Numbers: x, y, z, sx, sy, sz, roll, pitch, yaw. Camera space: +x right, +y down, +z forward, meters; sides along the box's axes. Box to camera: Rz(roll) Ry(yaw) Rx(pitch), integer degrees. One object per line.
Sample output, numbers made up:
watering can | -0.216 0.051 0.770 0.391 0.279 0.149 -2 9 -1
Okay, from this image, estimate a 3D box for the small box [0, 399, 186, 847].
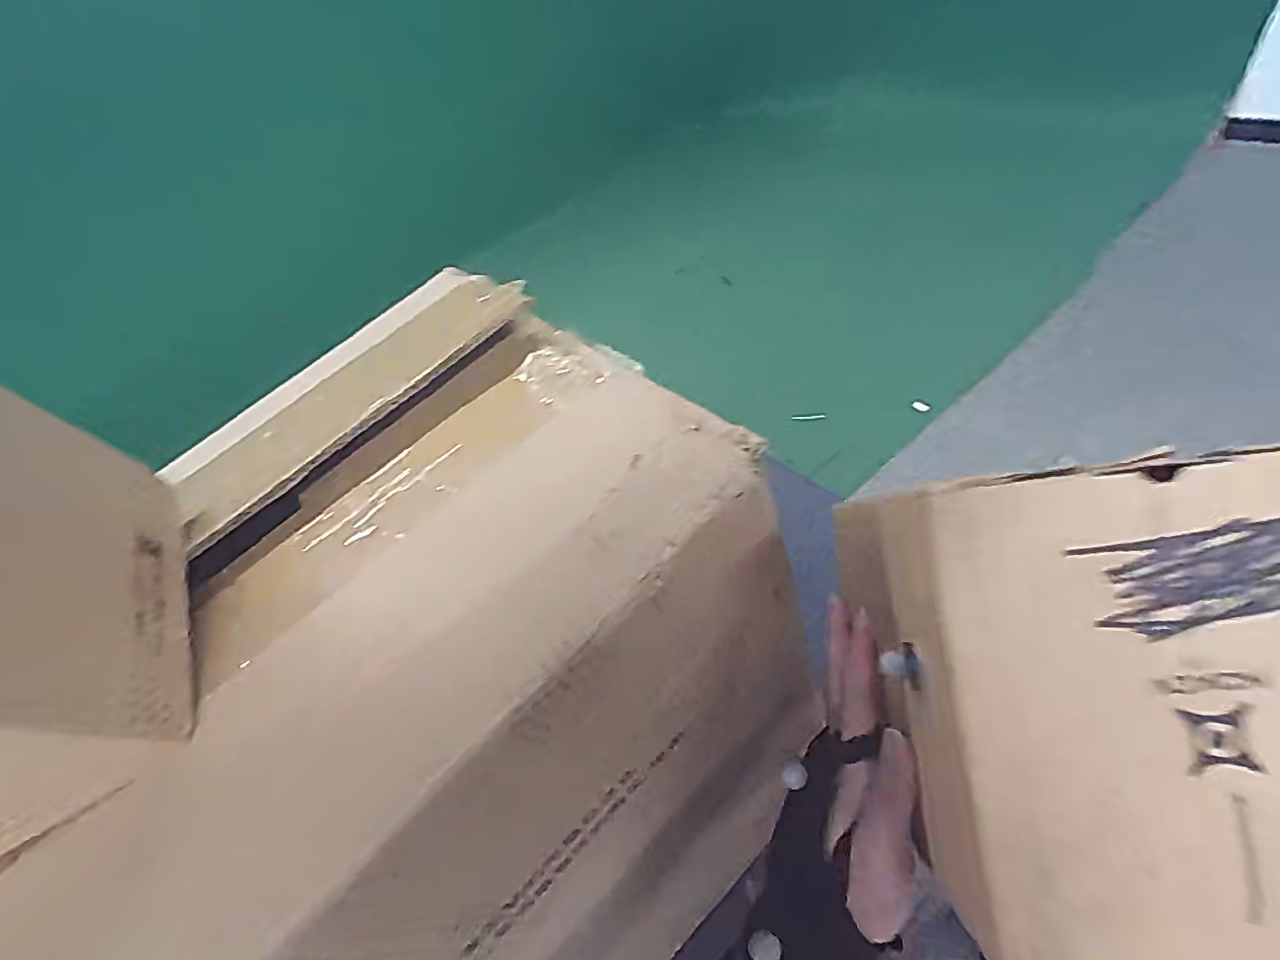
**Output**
small box | -0.330 0.065 0.208 0.179 0.176 0.168 -31 59 -5
